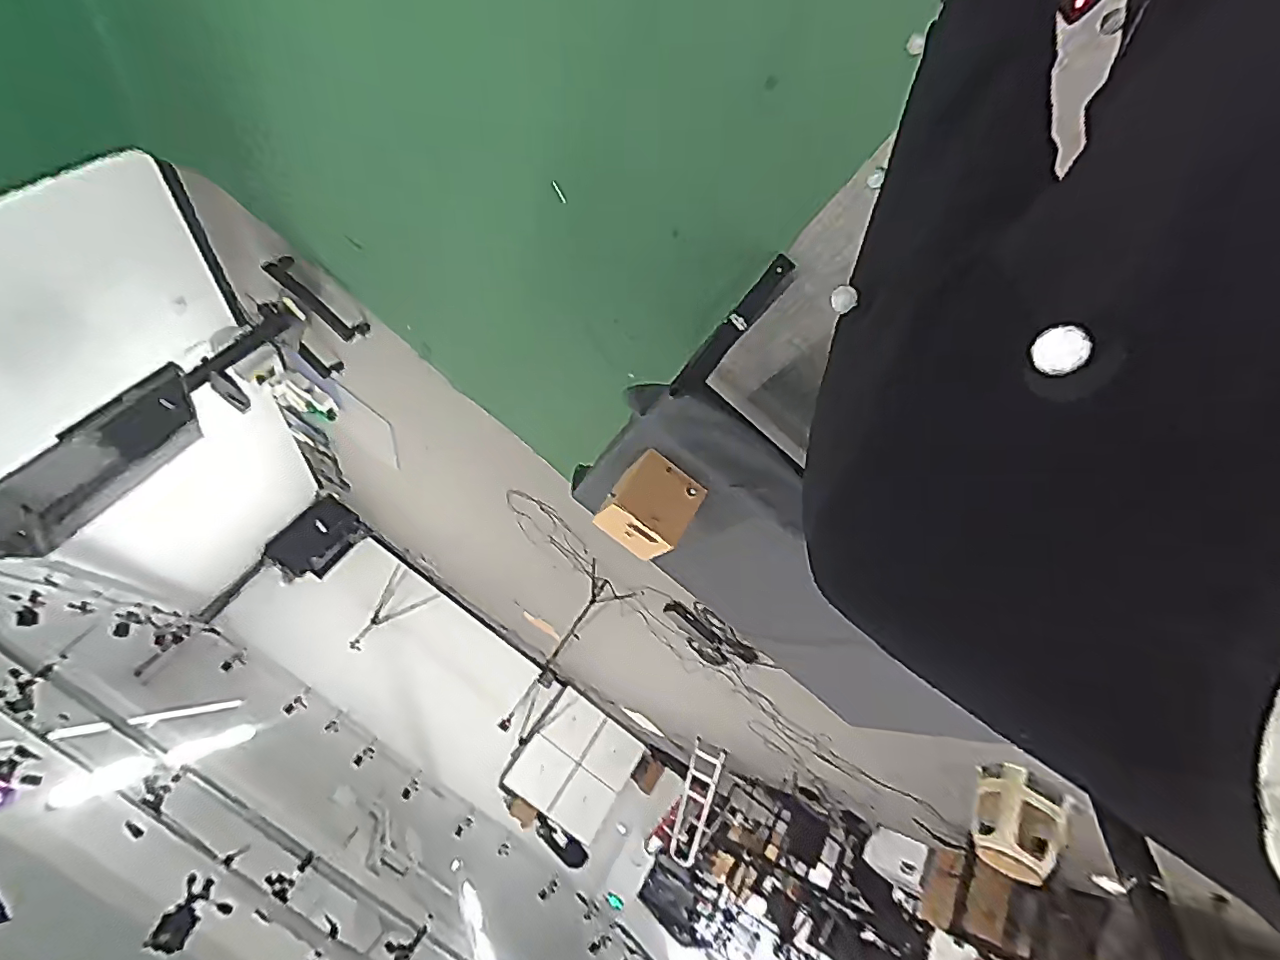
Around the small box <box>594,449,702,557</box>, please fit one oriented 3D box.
[{"bbox_3d":[0.023,0.055,1.265,0.168,0.176,0.179,39,153,-7],"label":"small box"}]
